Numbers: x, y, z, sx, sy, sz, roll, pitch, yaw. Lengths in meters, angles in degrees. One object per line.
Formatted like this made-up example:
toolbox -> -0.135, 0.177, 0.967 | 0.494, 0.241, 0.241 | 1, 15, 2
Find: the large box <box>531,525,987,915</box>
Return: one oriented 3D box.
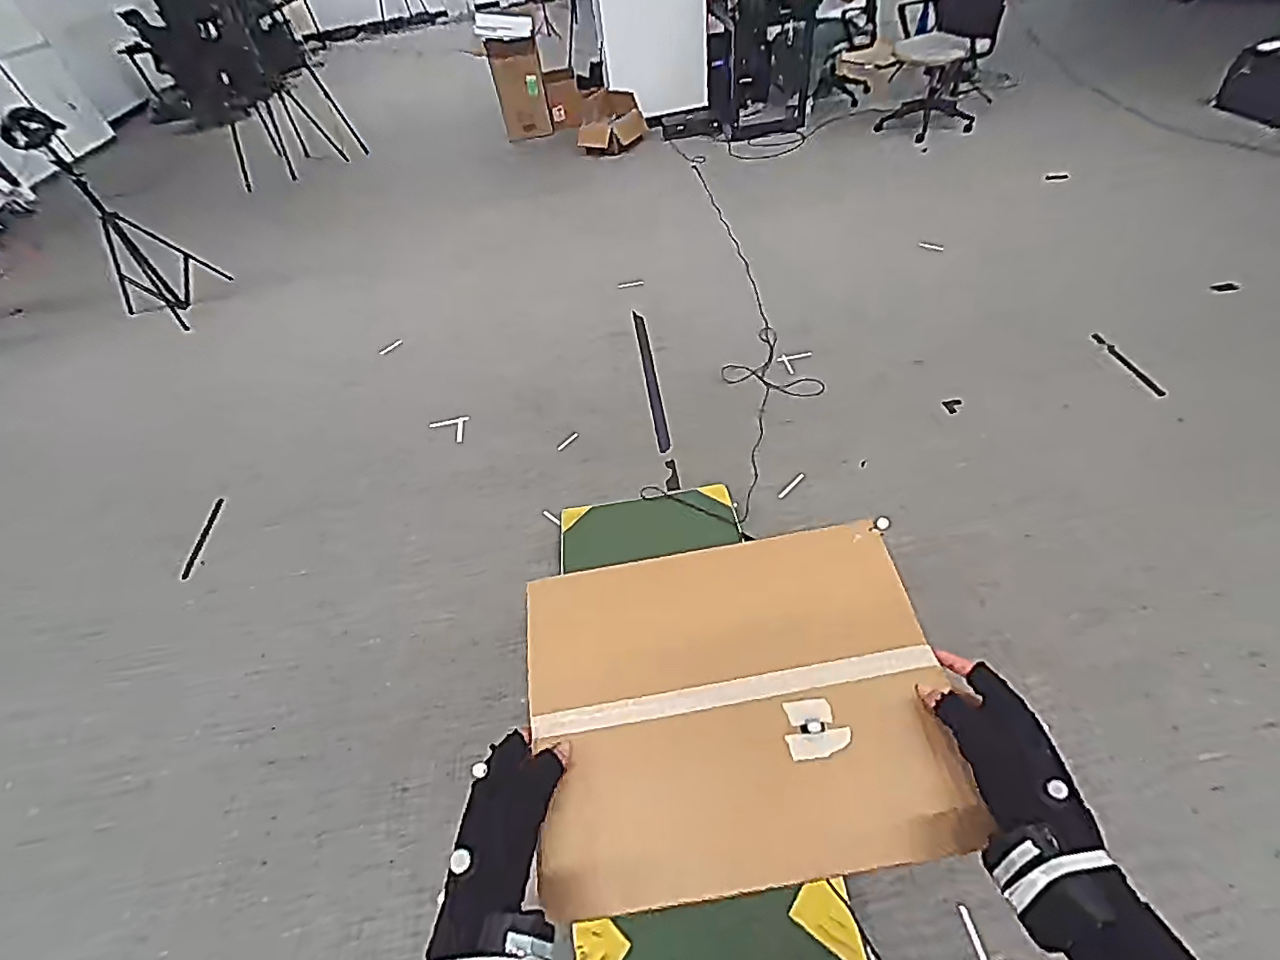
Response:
large box -> 0.103, 0.297, 0.678 | 0.408, 0.320, 0.320 | -10, 57, -1
